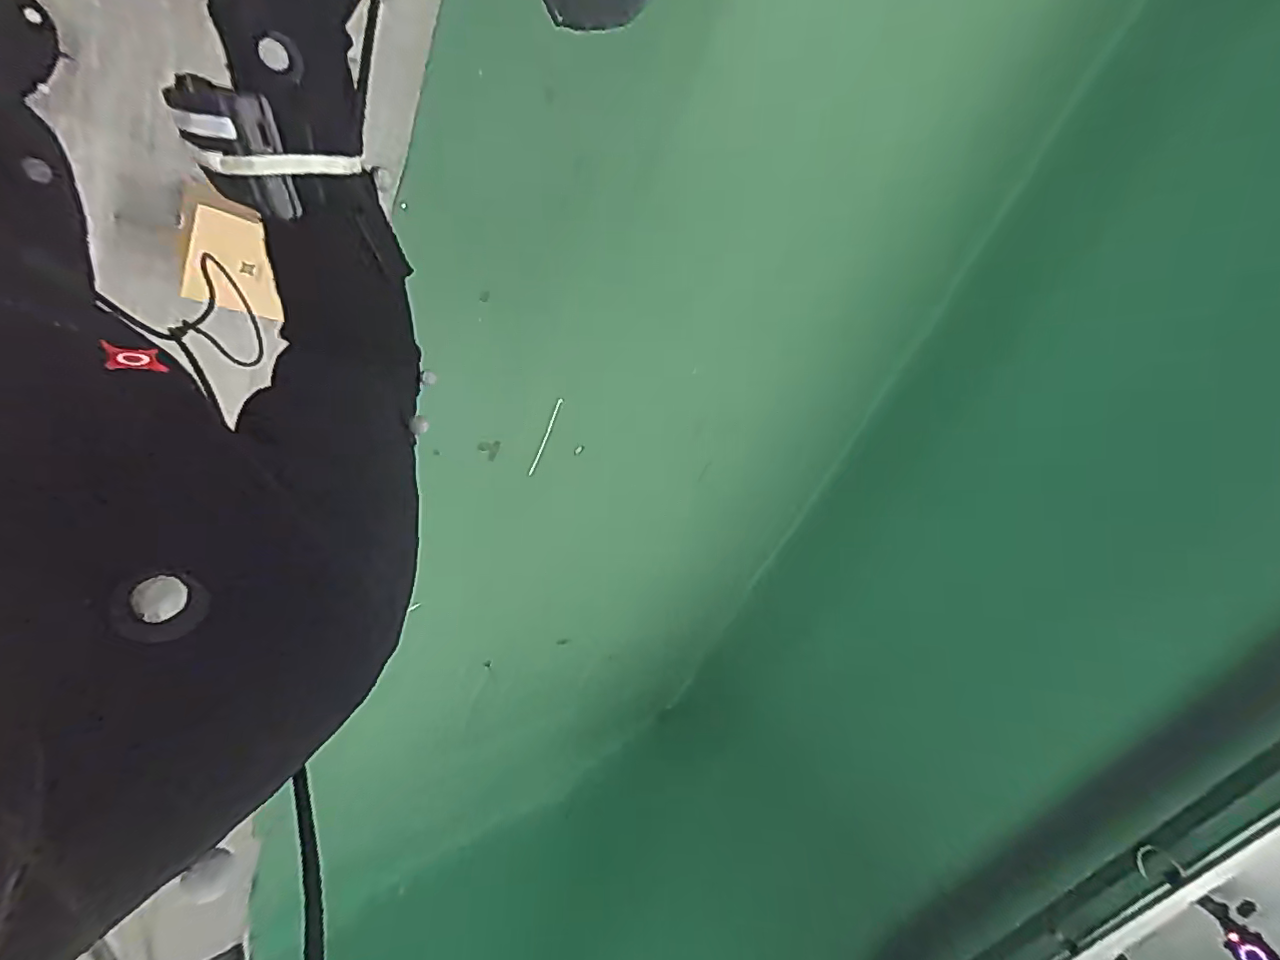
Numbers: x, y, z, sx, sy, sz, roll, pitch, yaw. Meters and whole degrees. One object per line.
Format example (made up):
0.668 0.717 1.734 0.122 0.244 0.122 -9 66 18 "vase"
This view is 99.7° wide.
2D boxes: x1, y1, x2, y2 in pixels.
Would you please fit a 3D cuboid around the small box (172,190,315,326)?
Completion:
-0.749 -0.417 1.018 0.179 0.176 0.168 5 119 -48 "small box"
